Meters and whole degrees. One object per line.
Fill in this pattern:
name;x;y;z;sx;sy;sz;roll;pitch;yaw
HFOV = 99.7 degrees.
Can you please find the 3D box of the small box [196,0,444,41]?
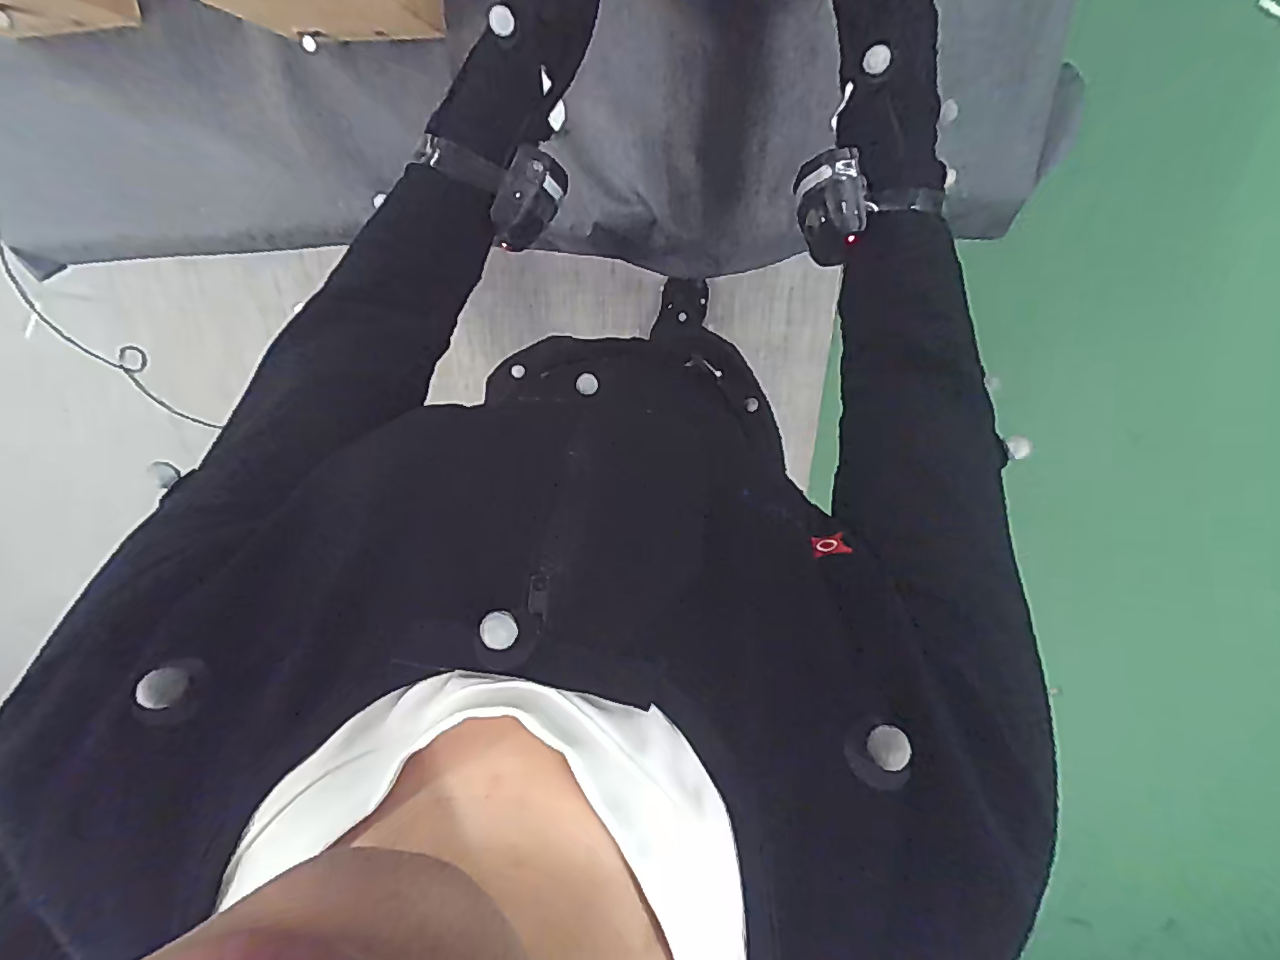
small box;-0.283;-0.494;0.451;0.168;0.176;0.179;3;115;7
